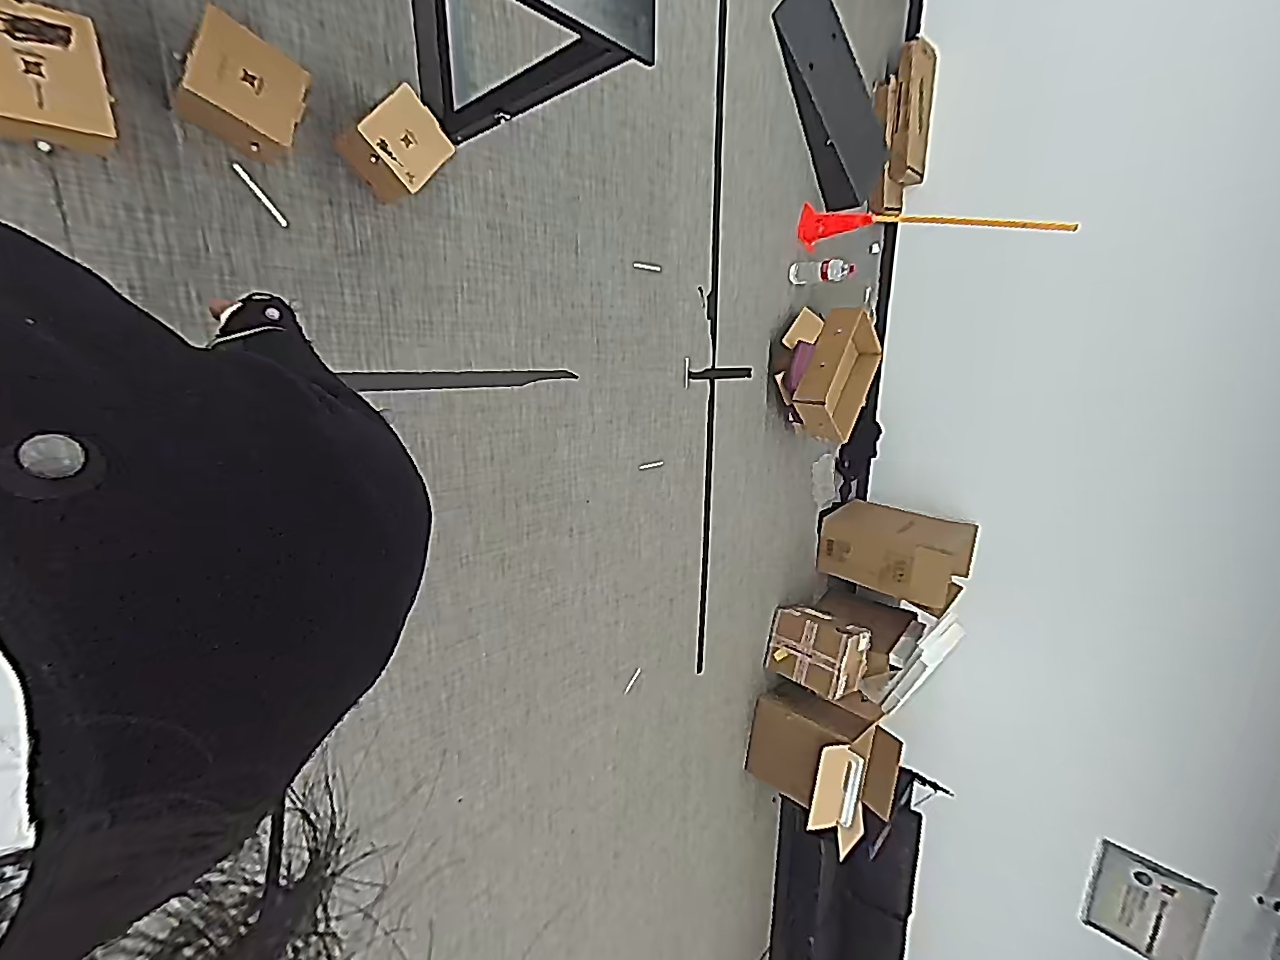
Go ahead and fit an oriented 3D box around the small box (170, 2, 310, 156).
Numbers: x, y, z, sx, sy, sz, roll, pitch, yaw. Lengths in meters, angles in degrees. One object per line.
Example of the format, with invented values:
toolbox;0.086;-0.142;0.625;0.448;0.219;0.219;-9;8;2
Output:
small box;-0.807;-0.787;1.089;0.179;0.176;0.168;17;87;-47

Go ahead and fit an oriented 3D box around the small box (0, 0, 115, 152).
small box;-1.009;-0.674;0.897;0.168;0.176;0.179;-15;112;-44

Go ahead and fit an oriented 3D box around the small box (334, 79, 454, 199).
small box;-0.597;-0.815;1.307;0.168;0.176;0.179;48;65;-42
